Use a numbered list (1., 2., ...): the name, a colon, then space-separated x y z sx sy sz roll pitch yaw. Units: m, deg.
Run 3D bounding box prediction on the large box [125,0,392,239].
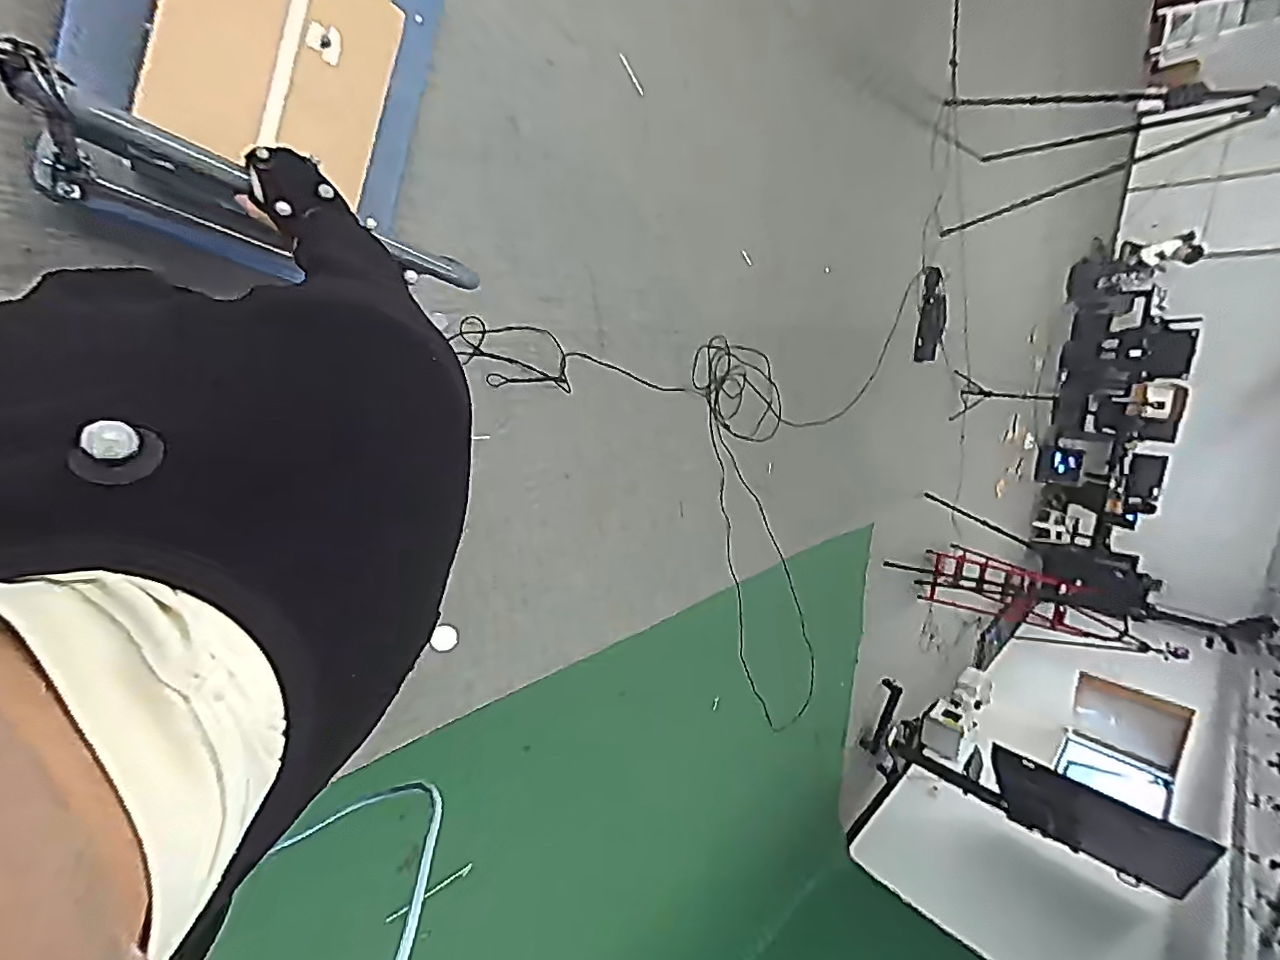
1. large box: -0.713 -0.730 1.011 0.320 0.320 0.408 14 91 -45
